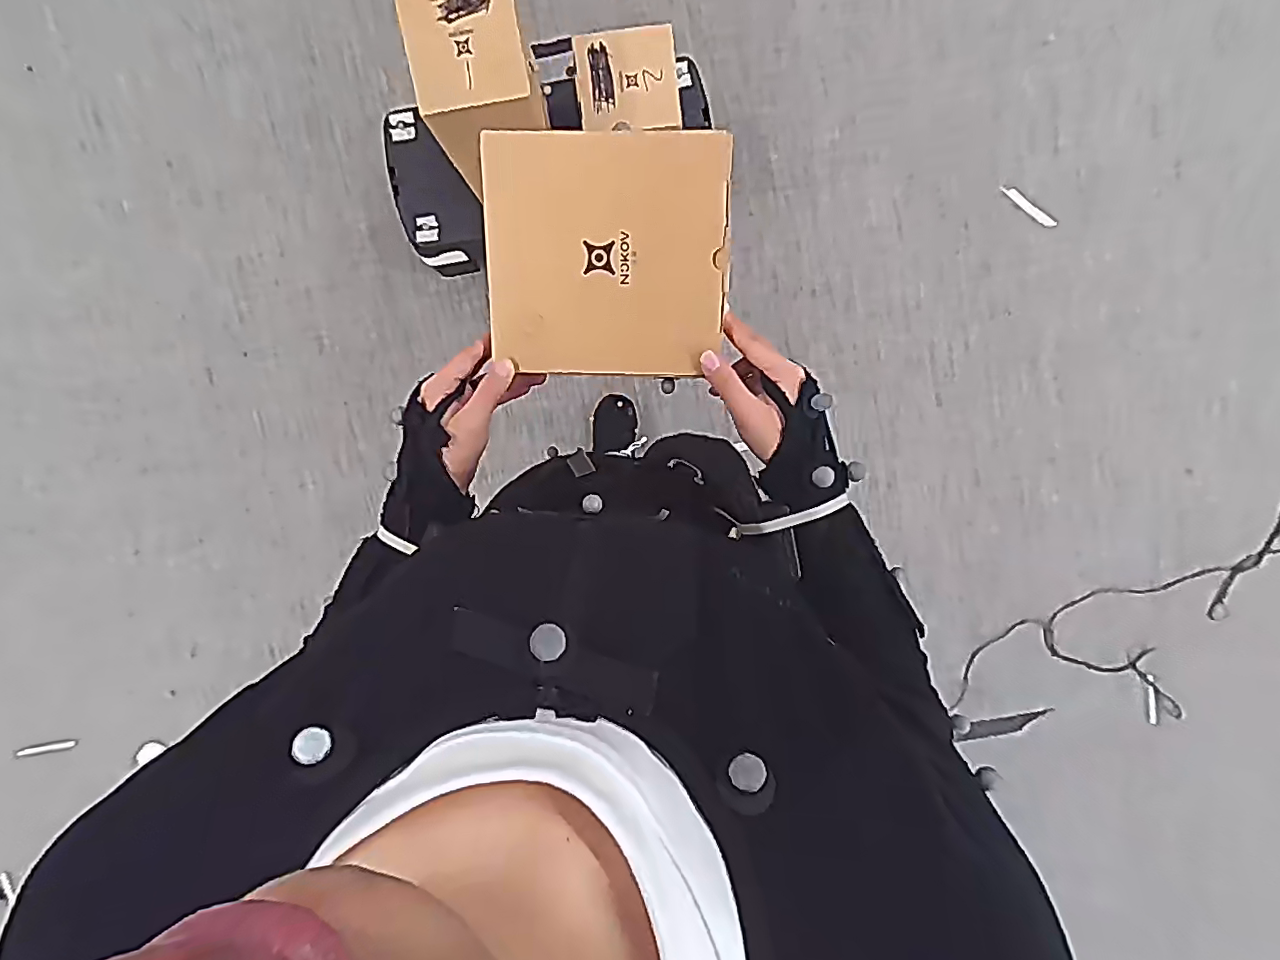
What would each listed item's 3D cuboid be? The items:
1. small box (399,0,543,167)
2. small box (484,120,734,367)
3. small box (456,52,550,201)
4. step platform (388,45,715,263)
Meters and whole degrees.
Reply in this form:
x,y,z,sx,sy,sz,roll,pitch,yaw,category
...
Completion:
x,y,z,sx,sy,sz,roll,pitch,yaw,category
-0.251,-0.629,0.847,0.168,0.176,0.179,-10,97,0,small box
-0.021,-0.184,0.466,0.179,0.176,0.168,1,104,1,small box
-0.251,-0.645,1.011,0.168,0.176,0.179,-9,97,0,small box
-0.176,-0.696,1.181,0.684,0.204,0.286,-11,96,1,step platform
